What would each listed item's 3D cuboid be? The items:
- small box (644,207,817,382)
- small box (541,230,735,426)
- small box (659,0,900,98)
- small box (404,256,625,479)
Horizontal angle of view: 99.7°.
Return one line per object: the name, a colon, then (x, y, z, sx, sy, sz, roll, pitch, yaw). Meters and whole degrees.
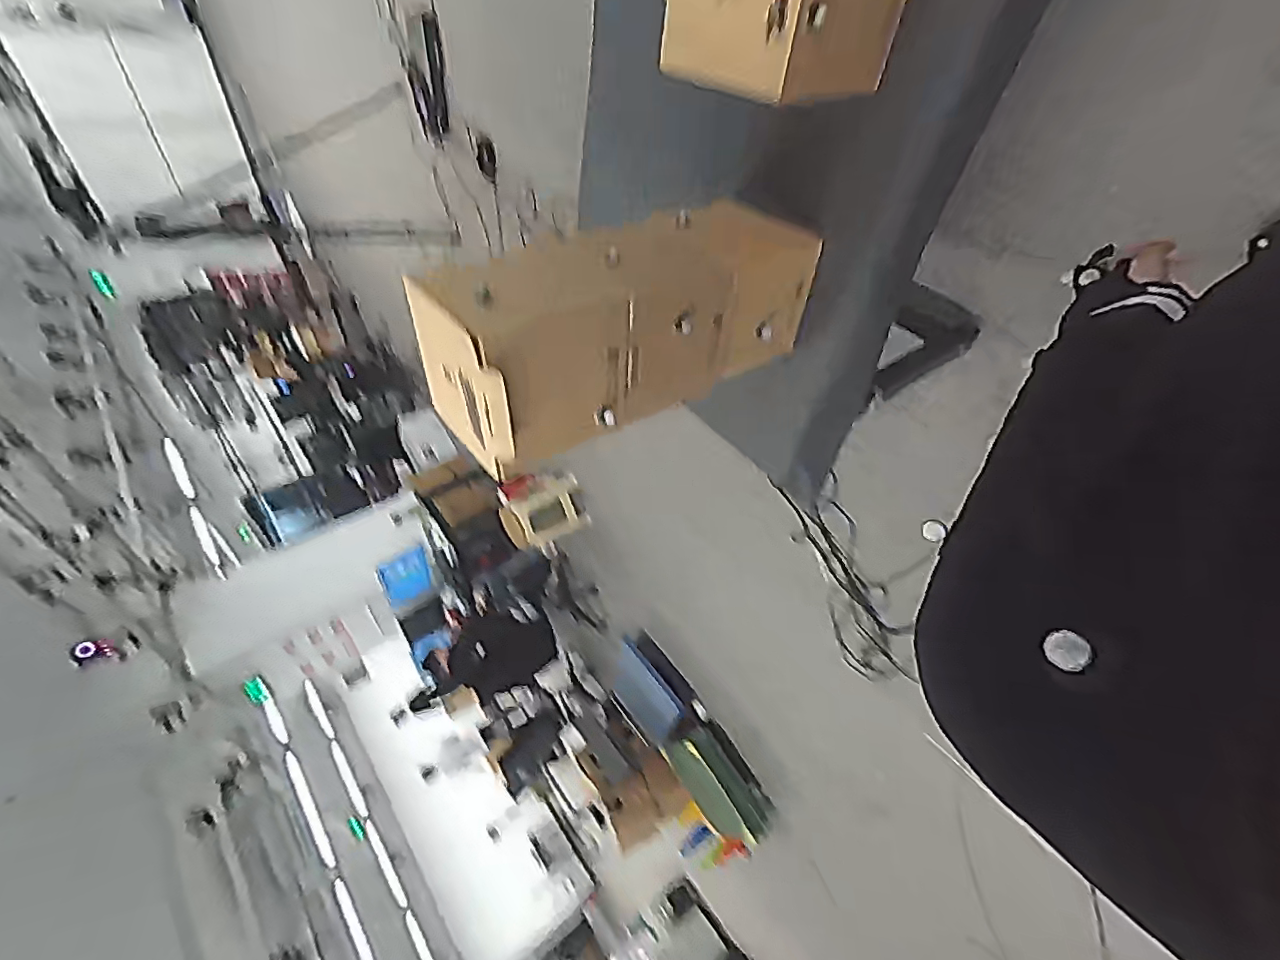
small box: (0.119, -0.271, 0.767, 0.179, 0.176, 0.168, 41, 144, 32)
small box: (-0.004, -0.202, 0.687, 0.179, 0.176, 0.168, 41, 143, 34)
small box: (0.144, -0.500, 0.539, 0.179, 0.176, 0.168, 43, 146, 31)
small box: (-0.131, -0.136, 0.606, 0.179, 0.176, 0.168, 40, 142, 35)
